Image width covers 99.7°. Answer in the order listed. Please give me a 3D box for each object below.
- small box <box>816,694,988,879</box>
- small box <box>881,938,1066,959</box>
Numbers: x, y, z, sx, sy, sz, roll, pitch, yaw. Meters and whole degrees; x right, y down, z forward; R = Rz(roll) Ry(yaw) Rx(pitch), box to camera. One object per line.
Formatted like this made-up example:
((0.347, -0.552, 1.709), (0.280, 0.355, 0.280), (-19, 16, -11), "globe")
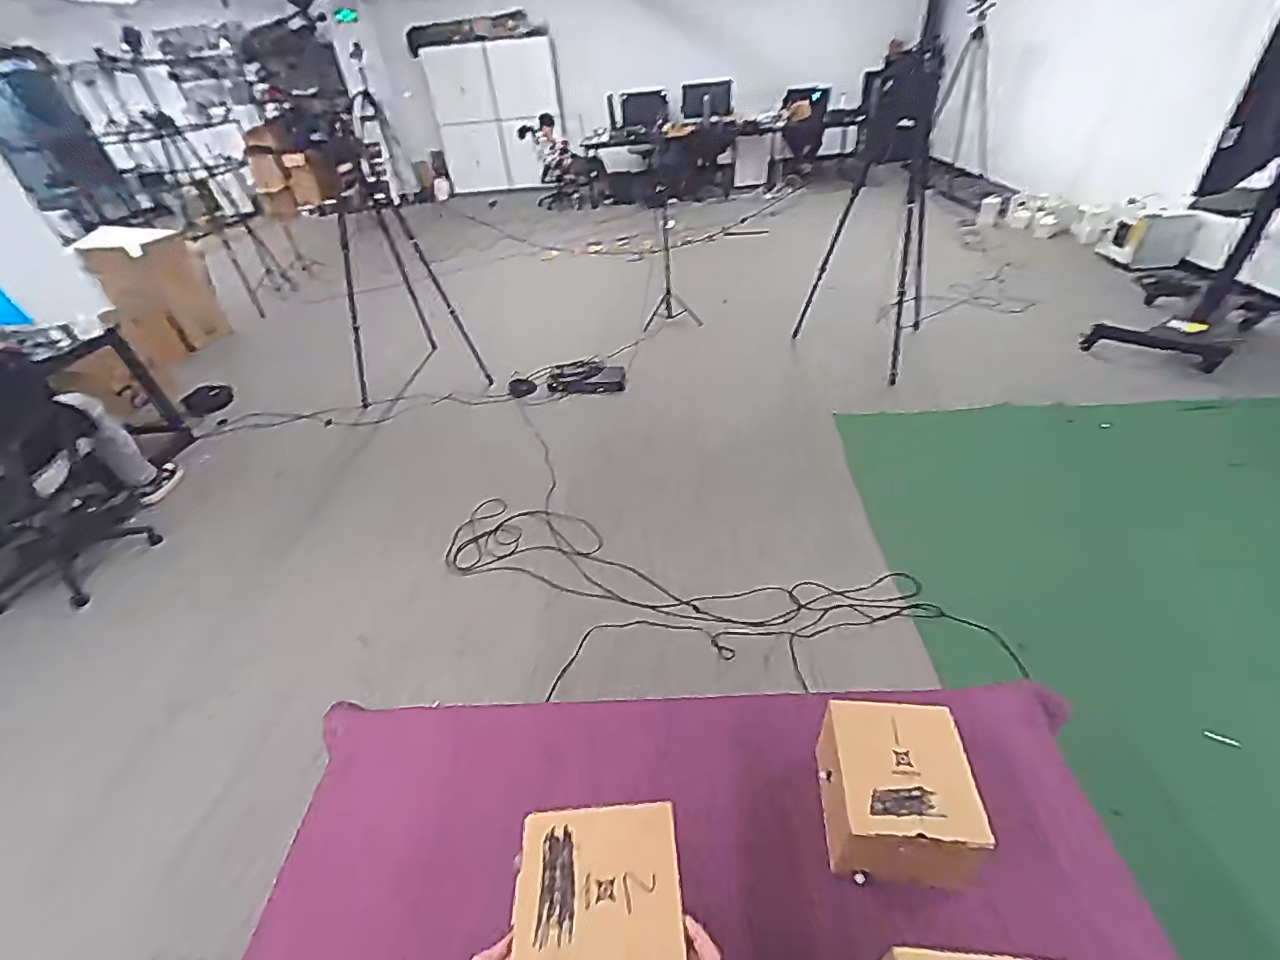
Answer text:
((0.349, 0.430, 0.760), (0.168, 0.176, 0.179), (1, 39, 8), "small box")
((0.349, 0.600, 0.548), (0.179, 0.176, 0.168), (-1, 38, 8), "small box")
